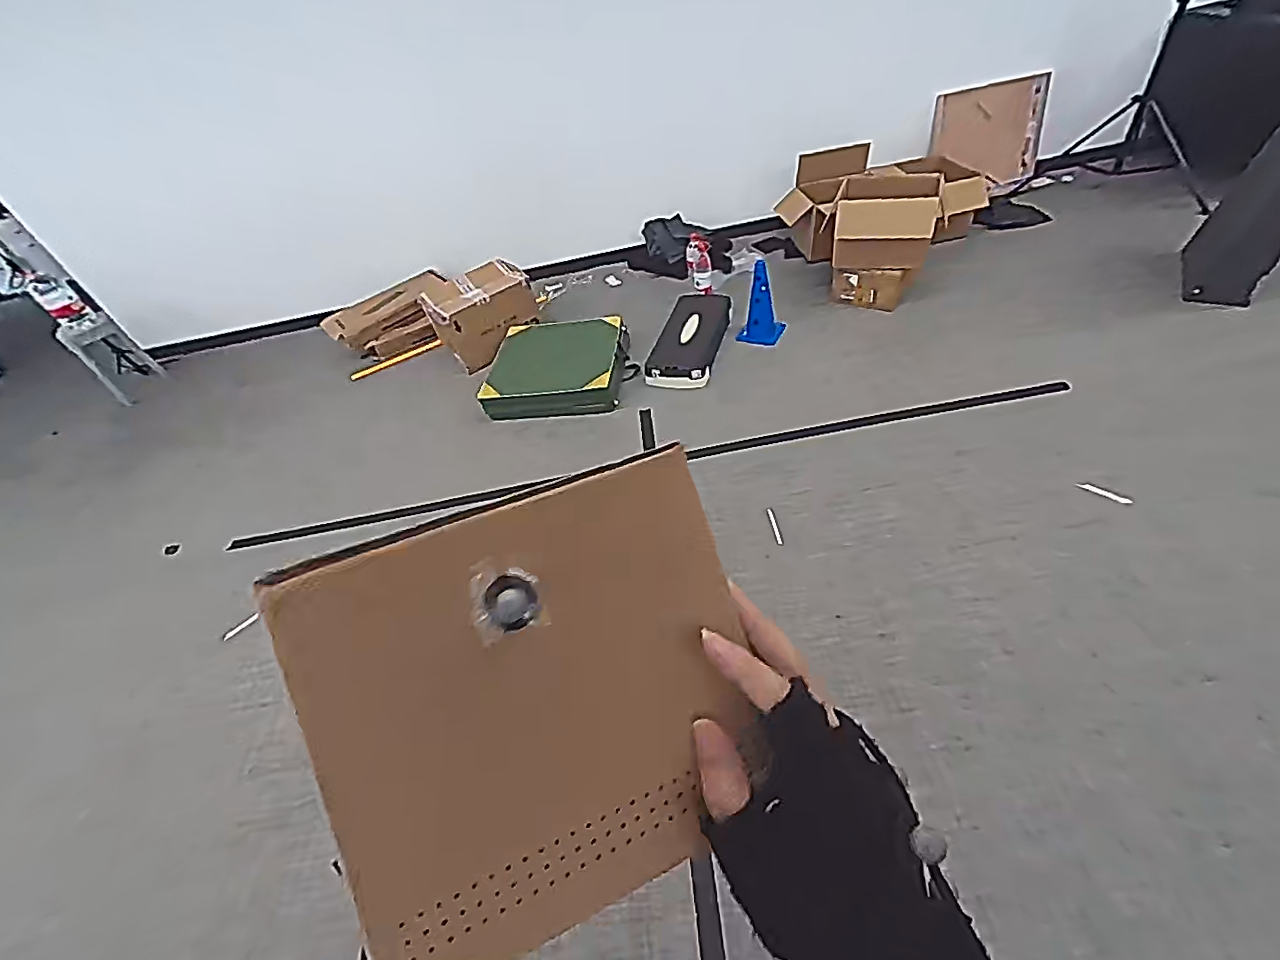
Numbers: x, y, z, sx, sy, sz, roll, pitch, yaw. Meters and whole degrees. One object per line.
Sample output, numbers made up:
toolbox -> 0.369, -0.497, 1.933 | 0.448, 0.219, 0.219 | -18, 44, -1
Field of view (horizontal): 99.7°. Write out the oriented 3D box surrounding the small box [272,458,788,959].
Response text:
small box -> -0.052, 0.103, 0.292 | 0.179, 0.168, 0.176 | -17, 88, -19
